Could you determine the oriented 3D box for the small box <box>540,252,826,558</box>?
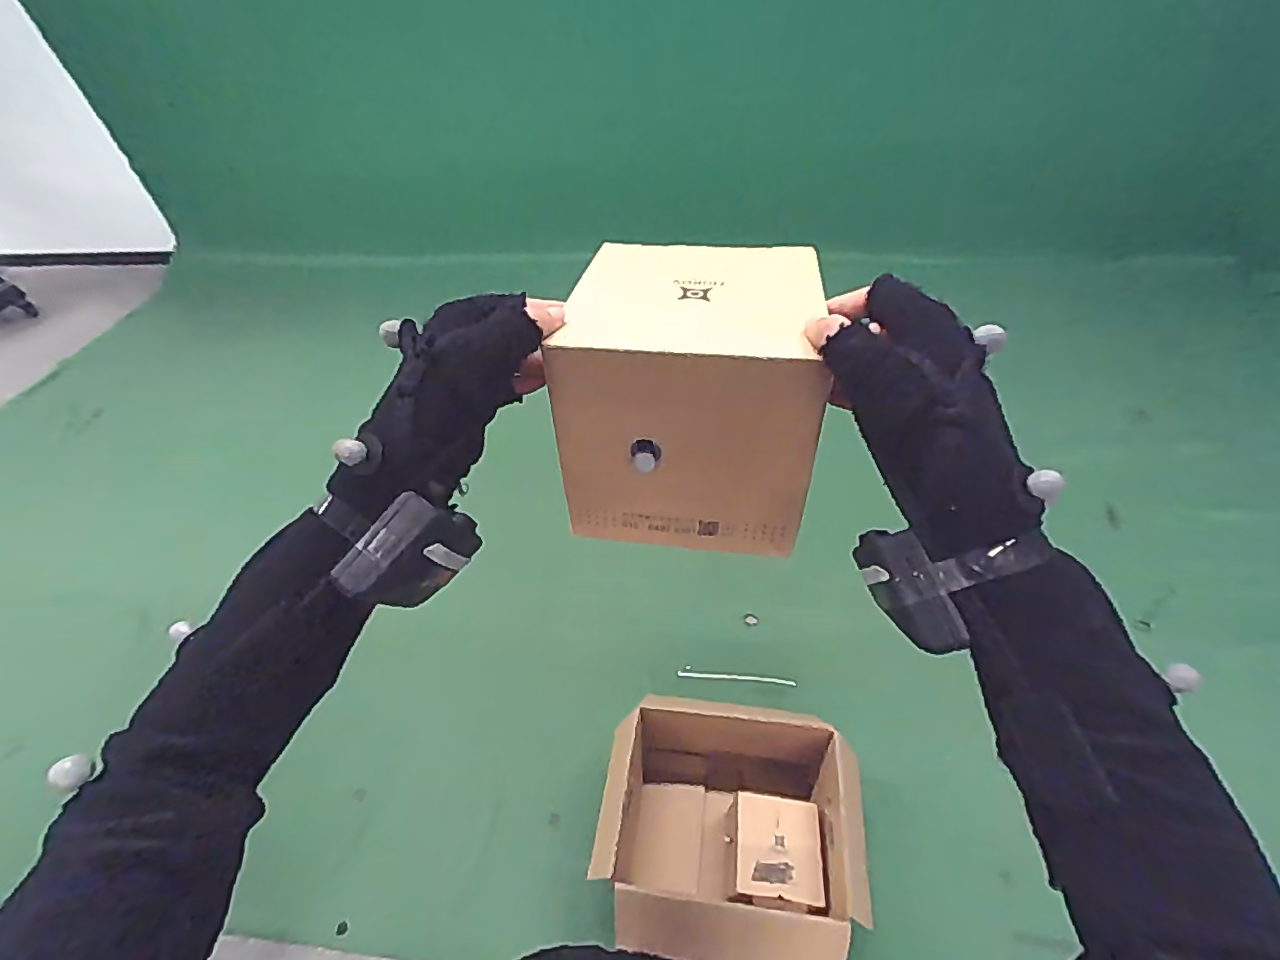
[{"bbox_3d":[0.038,-0.060,0.414,0.168,0.176,0.179,5,41,8],"label":"small box"}]
